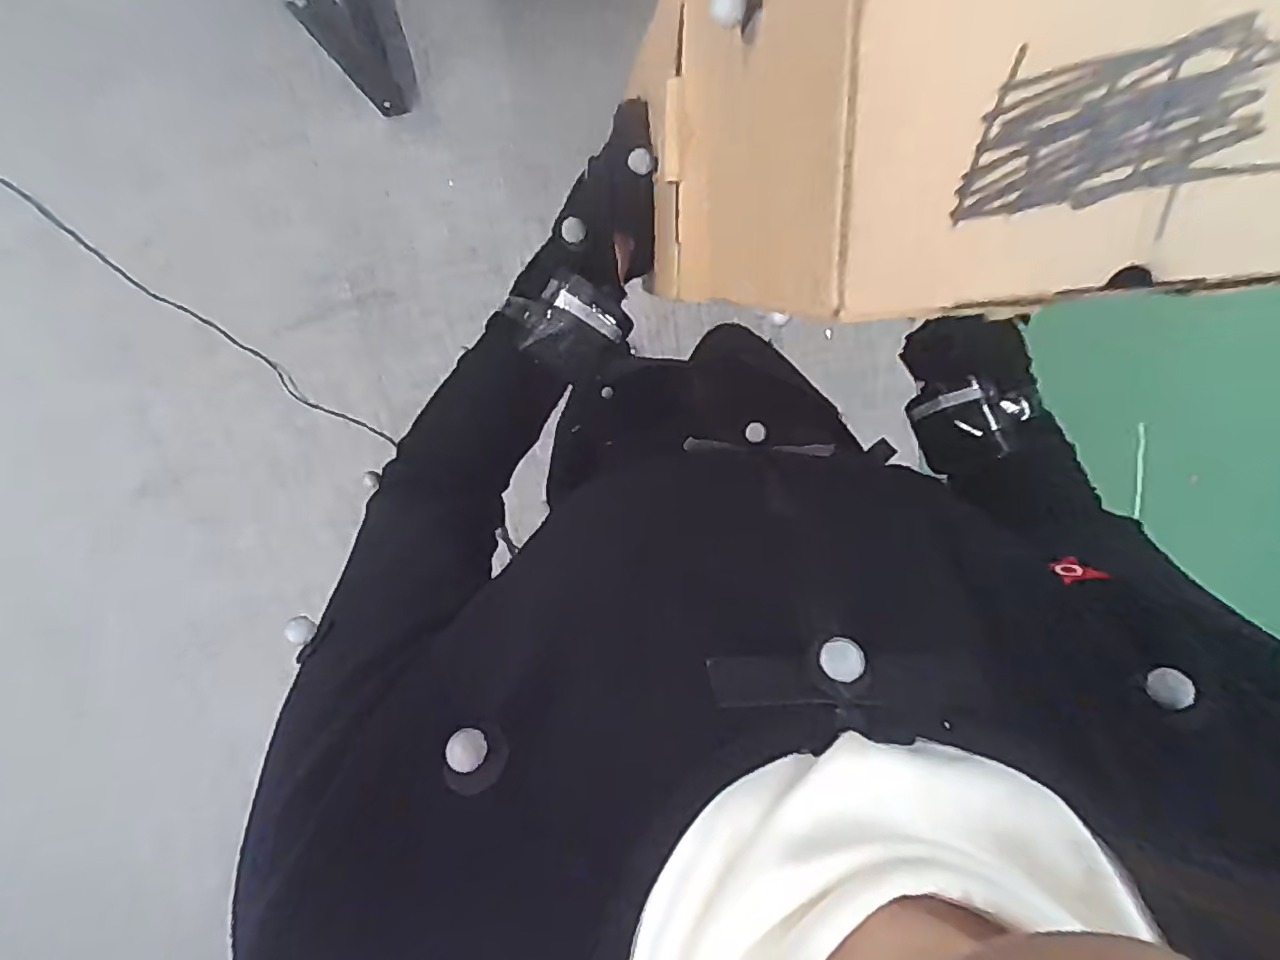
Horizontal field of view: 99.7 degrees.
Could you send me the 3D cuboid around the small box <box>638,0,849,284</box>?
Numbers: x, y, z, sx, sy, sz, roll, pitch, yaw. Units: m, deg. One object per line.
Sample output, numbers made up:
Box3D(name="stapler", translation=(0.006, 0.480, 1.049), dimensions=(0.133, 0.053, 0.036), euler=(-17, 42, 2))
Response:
Box3D(name="small box", translation=(0.091, -0.220, 0.348), dimensions=(0.179, 0.176, 0.168), euler=(-5, 108, -5))
